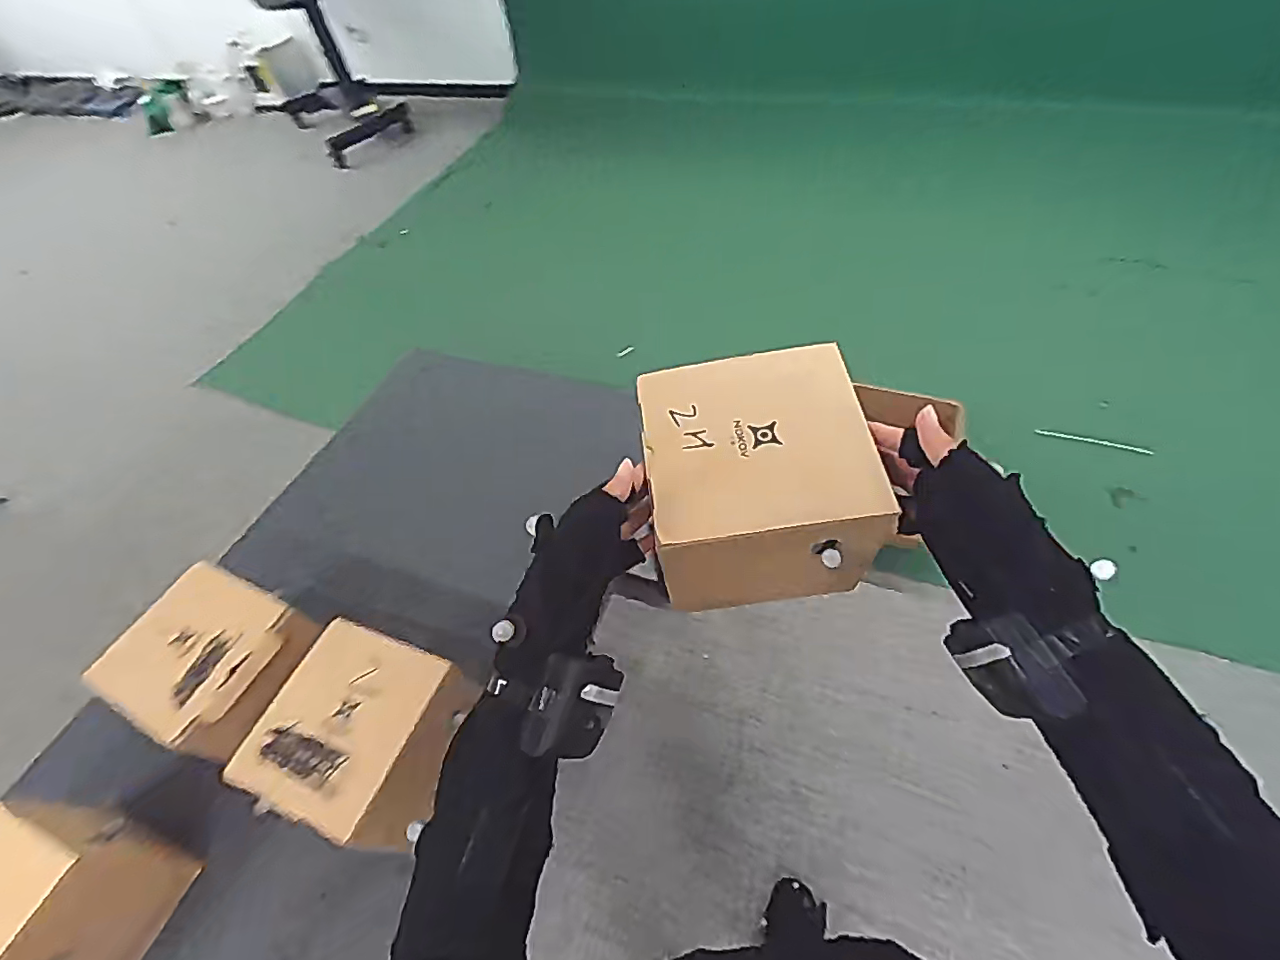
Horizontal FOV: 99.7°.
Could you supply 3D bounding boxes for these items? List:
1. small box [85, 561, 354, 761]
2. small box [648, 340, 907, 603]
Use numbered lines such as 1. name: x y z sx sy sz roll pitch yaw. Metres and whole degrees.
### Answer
1. small box: -0.514 0.236 0.690 0.179 0.176 0.168 18 58 20
2. small box: 0.108 0.002 0.492 0.179 0.176 0.168 -8 59 5
